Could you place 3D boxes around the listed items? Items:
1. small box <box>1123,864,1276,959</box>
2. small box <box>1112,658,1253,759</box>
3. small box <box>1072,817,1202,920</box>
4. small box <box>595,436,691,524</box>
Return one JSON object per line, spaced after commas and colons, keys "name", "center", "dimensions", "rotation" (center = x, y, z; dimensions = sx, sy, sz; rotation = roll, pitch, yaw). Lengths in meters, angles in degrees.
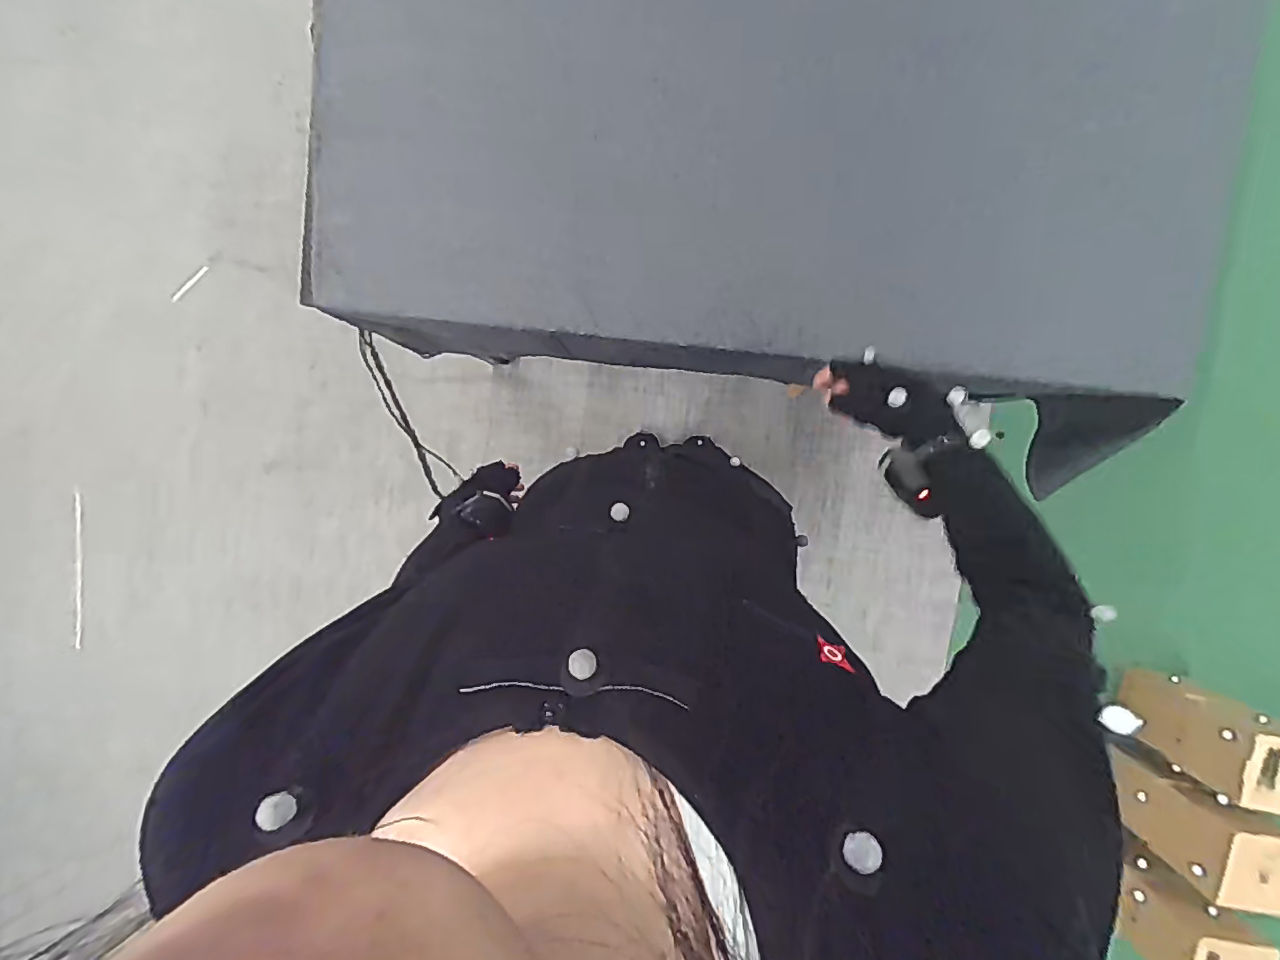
{"name": "small box", "center": [1.303, 1.051, 1.274], "dimensions": [0.179, 0.176, 0.168], "rotation": [6, 96, 3]}
{"name": "small box", "center": [1.381, 0.576, 1.390], "dimensions": [0.179, 0.176, 0.168], "rotation": [11, 96, 2]}
{"name": "small box", "center": [1.313, 1.035, 1.437], "dimensions": [0.179, 0.176, 0.168], "rotation": [7, 96, 3]}
{"name": "small box", "center": [0.002, -0.004, 1.431], "dimensions": [0.179, 0.176, 0.168], "rotation": [46, 108, 15]}
